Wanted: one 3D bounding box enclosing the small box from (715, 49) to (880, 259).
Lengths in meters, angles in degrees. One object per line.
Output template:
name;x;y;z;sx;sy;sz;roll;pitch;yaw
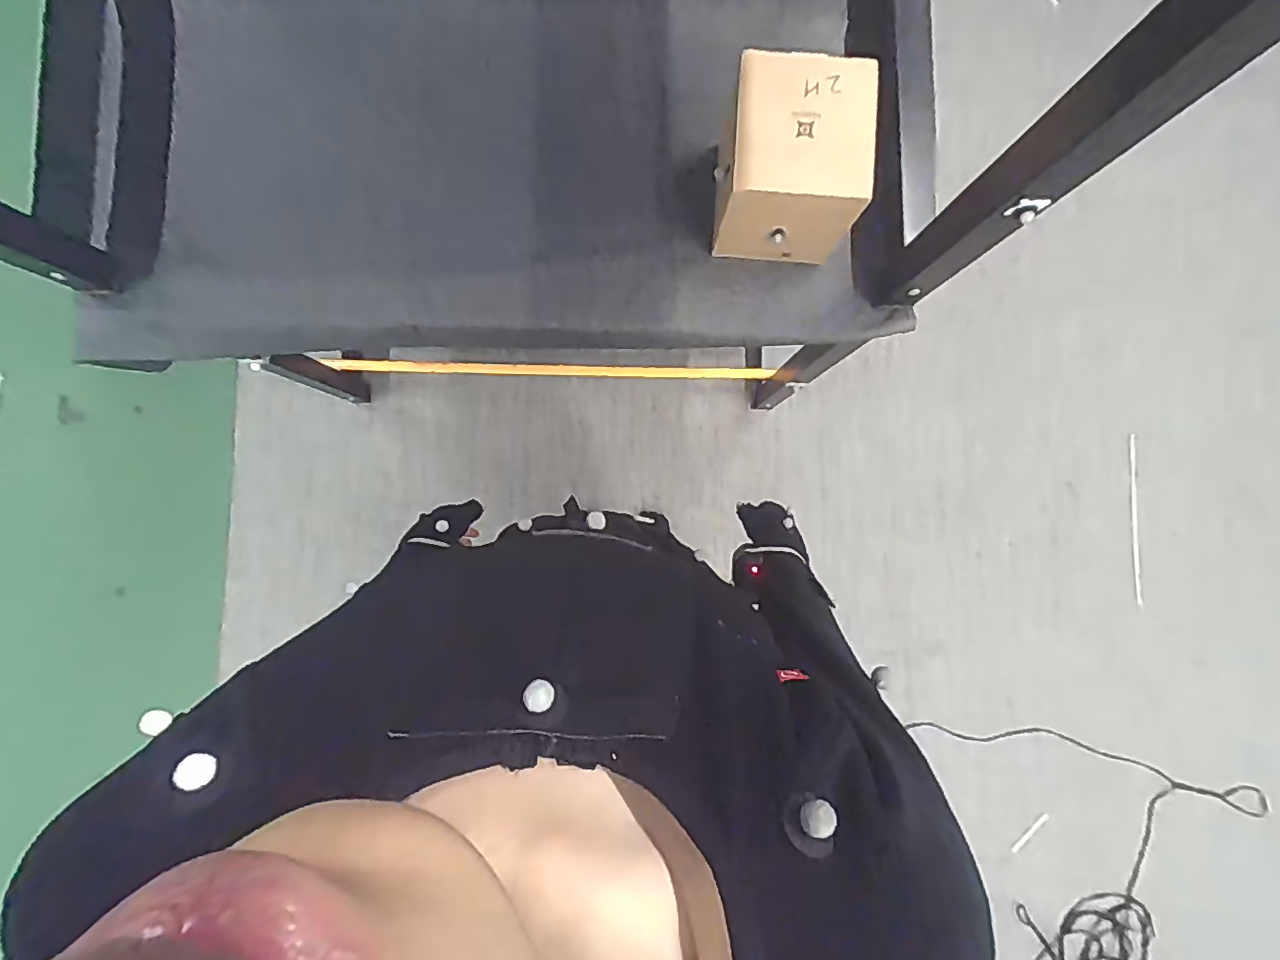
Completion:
small box;0.197;-0.415;0.717;0.168;0.176;0.179;4;86;-1
